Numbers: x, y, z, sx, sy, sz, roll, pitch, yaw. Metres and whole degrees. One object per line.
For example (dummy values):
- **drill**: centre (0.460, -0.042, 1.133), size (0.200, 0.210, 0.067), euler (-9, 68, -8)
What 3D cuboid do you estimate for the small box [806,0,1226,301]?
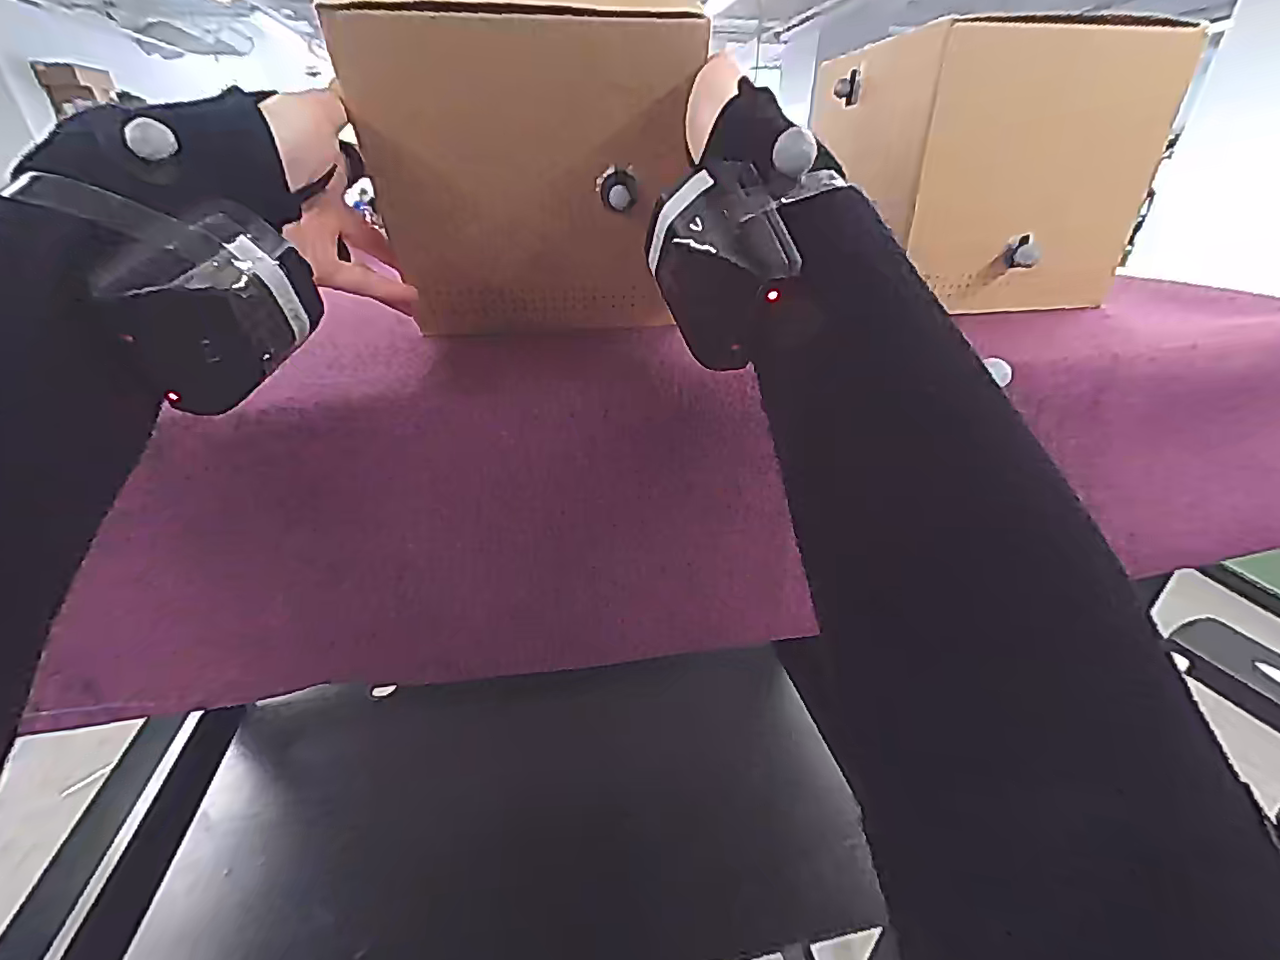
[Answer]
- **small box**: centre (0.248, -0.240, 0.413), size (0.179, 0.176, 0.168), euler (-5, 29, -8)

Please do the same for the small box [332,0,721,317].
- **small box**: centre (-0.061, -0.222, 0.350), size (0.179, 0.176, 0.168), euler (-5, 48, -6)
